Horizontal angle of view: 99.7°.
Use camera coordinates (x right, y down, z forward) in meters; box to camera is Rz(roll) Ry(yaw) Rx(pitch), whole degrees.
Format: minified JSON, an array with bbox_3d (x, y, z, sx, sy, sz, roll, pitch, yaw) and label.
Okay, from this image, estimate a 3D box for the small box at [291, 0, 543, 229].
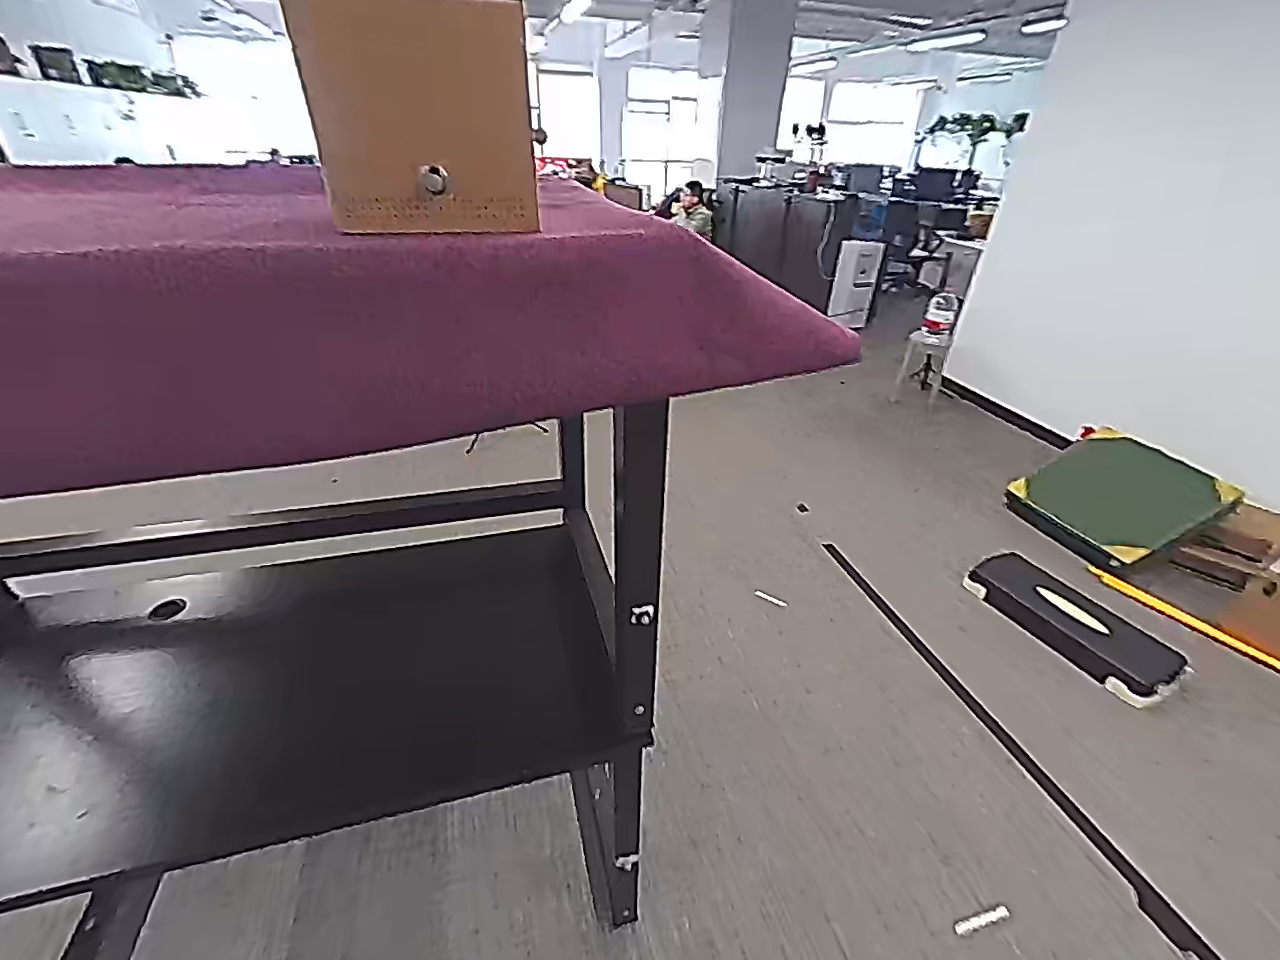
[{"bbox_3d":[-0.182,-0.335,0.501,0.179,0.176,0.168,-5,32,-10],"label":"small box"}]
